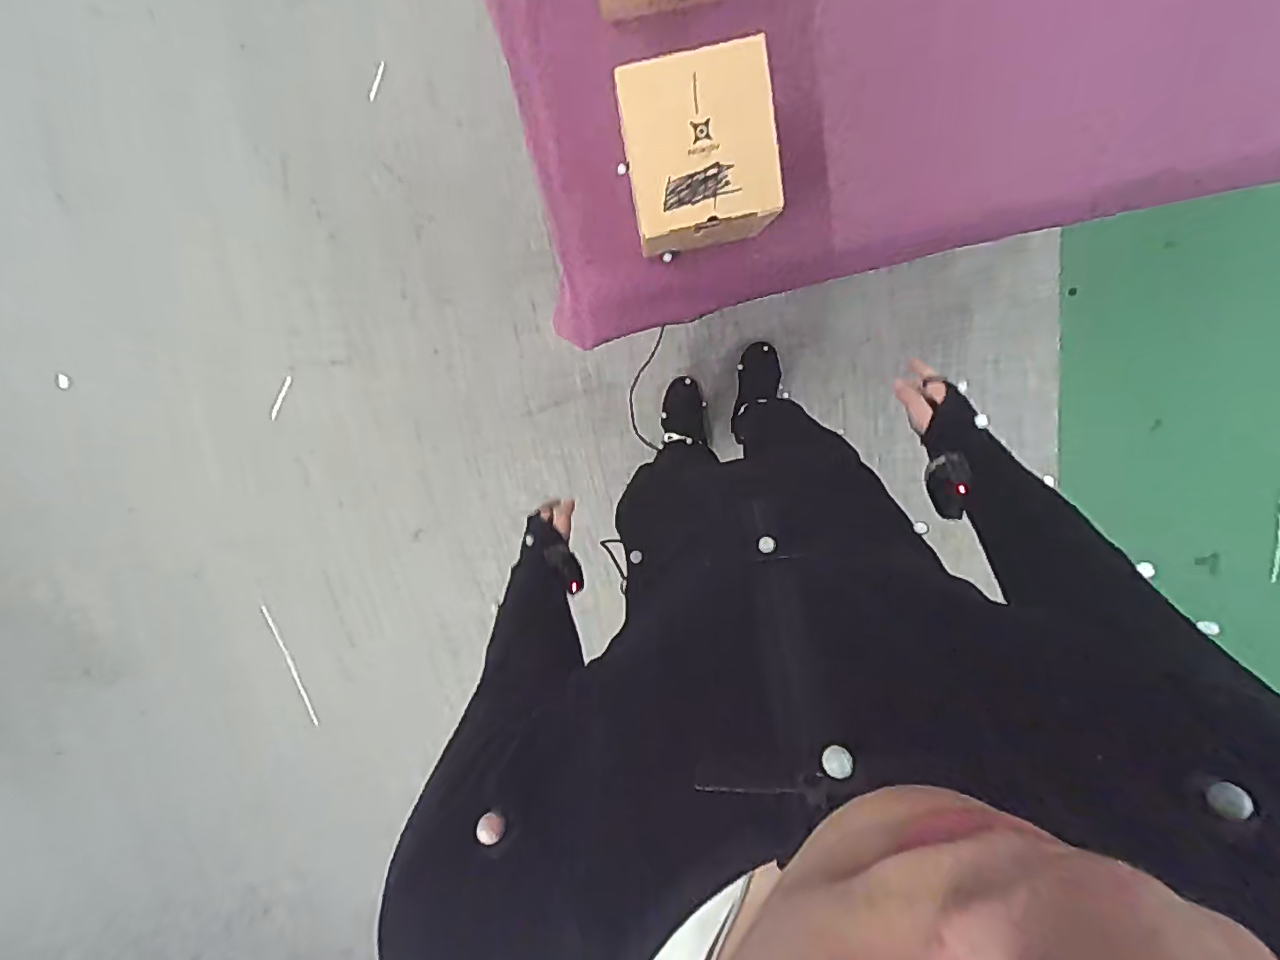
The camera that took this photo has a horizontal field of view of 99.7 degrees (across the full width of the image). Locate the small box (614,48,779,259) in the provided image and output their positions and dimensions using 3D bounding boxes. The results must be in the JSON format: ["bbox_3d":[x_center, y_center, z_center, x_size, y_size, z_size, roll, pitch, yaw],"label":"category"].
[{"bbox_3d":[0.067,-0.386,0.679,0.168,0.176,0.179,-10,103,3],"label":"small box"}]
